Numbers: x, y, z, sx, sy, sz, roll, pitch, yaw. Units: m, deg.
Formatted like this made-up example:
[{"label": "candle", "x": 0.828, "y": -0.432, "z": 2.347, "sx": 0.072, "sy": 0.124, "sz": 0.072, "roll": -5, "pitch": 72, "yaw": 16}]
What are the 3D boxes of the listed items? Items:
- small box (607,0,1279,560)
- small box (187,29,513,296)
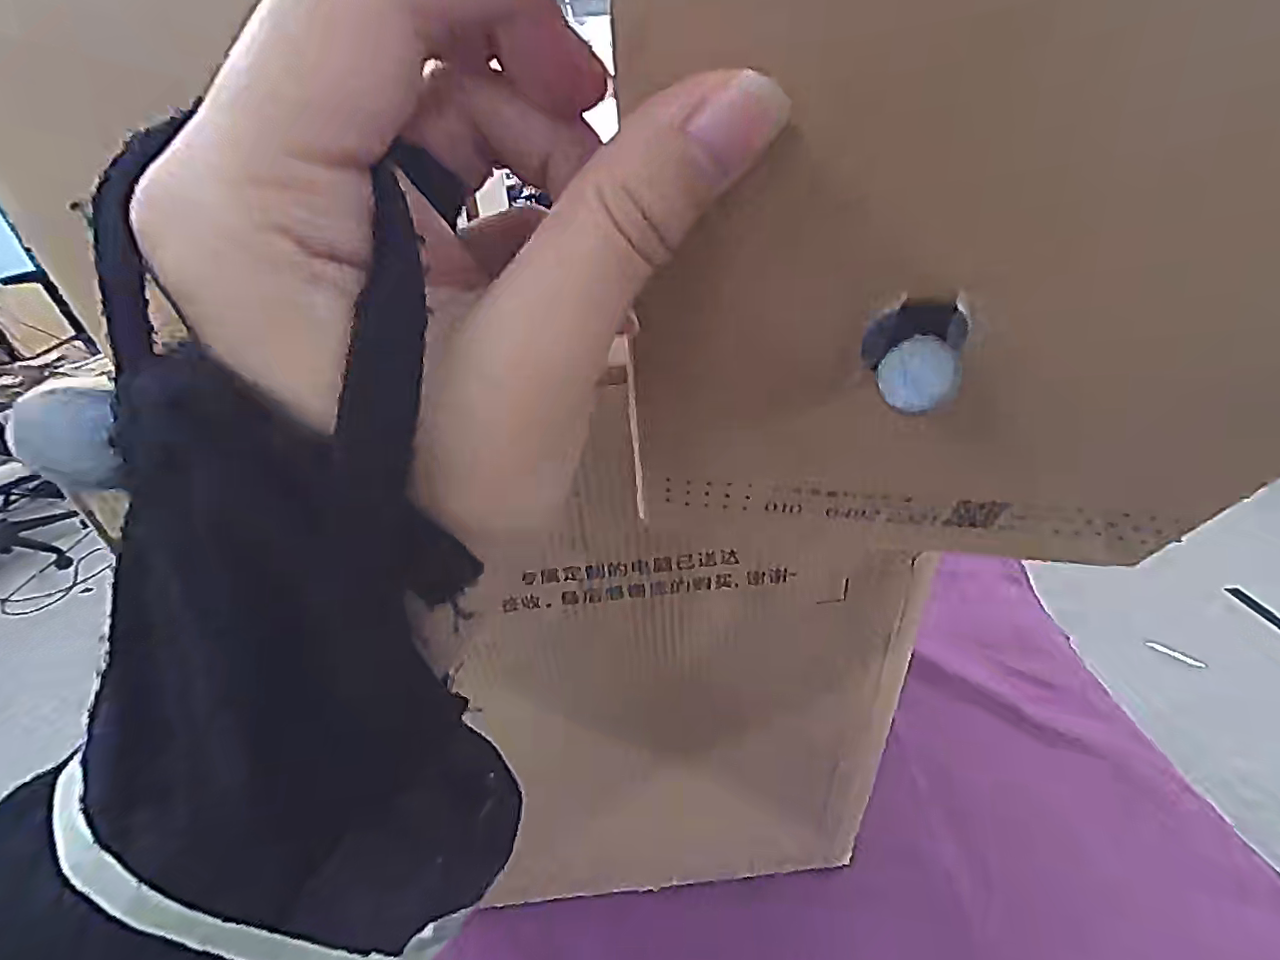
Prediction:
[{"label": "small box", "x": 0.090, "y": -0.090, "z": 0.167, "sx": 0.168, "sy": 0.176, "sz": 0.179, "roll": 4, "pitch": 55, "yaw": 6}, {"label": "small box", "x": -0.215, "y": -0.266, "z": 0.467, "sx": 0.179, "sy": 0.176, "sz": 0.168, "roll": -5, "pitch": 32, "yaw": -2}]
